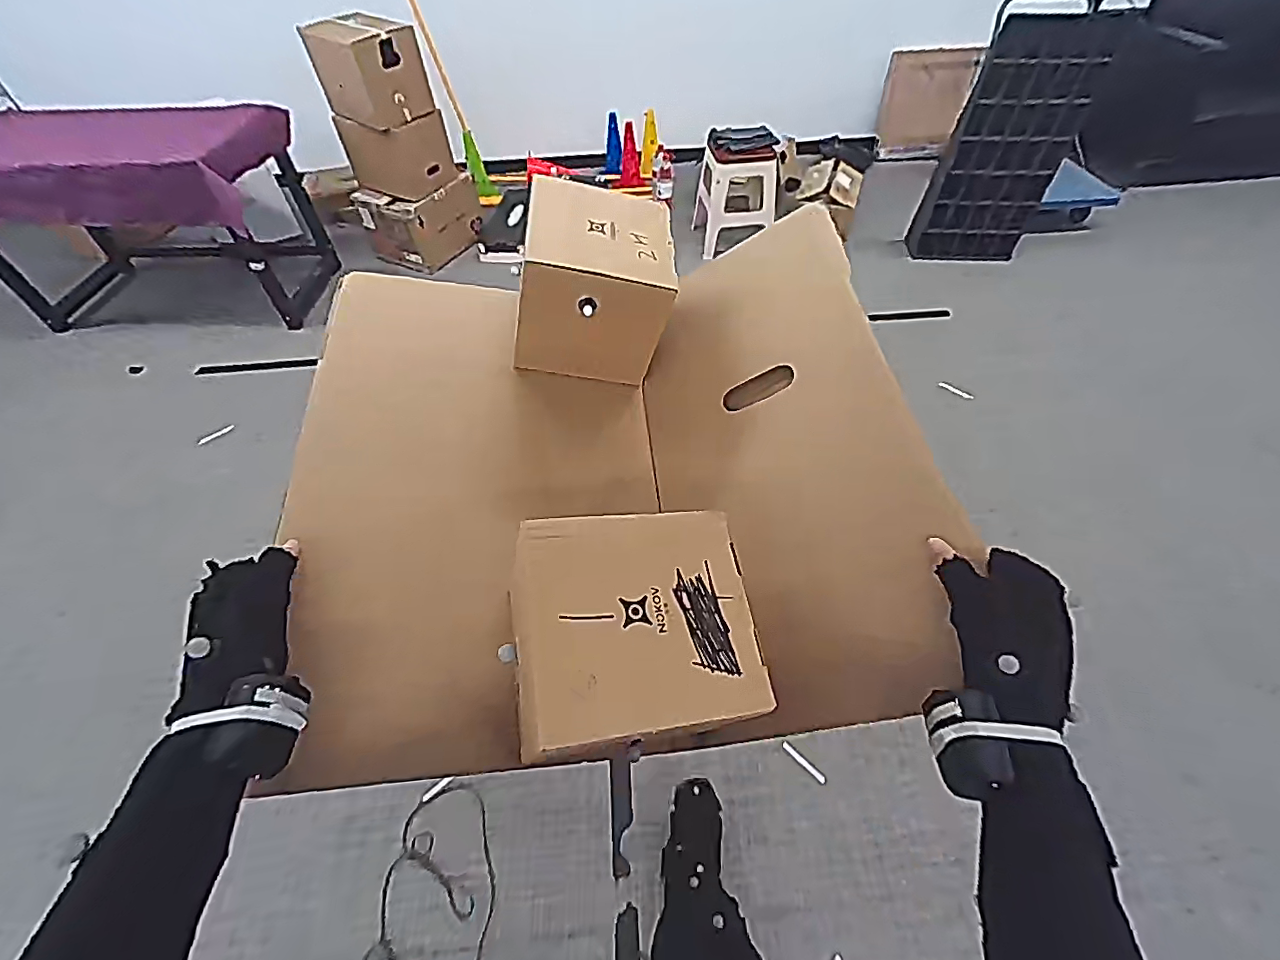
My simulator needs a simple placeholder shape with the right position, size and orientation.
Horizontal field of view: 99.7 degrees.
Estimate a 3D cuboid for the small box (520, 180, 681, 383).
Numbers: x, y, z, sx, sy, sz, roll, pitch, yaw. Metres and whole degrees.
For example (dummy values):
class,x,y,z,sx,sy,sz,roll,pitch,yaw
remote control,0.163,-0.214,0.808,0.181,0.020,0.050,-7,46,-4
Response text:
class,x,y,z,sx,sy,sz,roll,pitch,yaw
small box,-0.058,-0.247,0.703,0.179,0.176,0.168,7,58,-14
